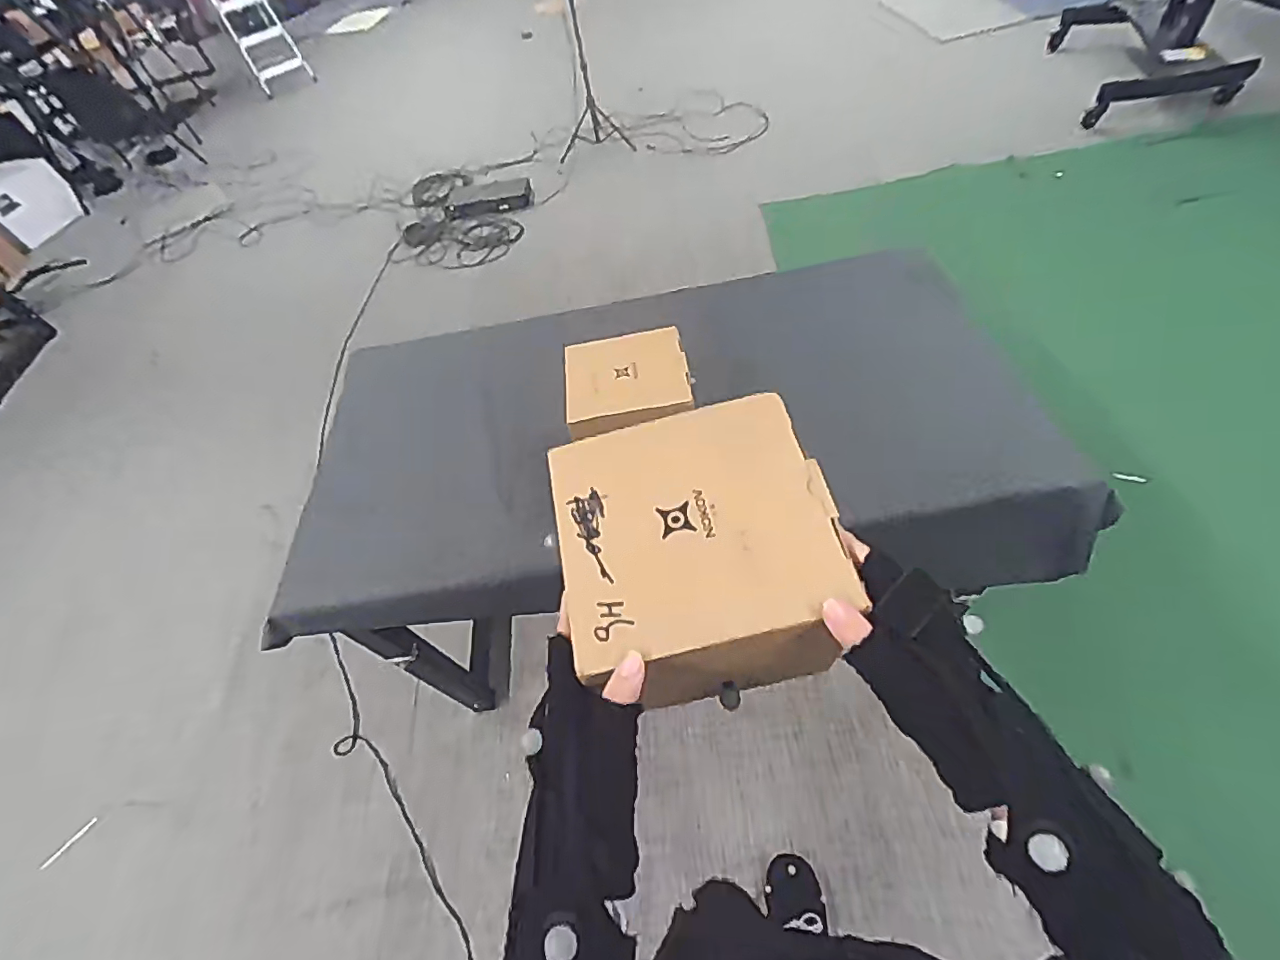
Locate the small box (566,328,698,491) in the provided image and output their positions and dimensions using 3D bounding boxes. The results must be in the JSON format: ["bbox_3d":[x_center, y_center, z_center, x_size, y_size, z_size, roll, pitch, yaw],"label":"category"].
[{"bbox_3d":[-0.009,-0.105,0.843,0.179,0.176,0.168,-12,52,4],"label":"small box"}]
